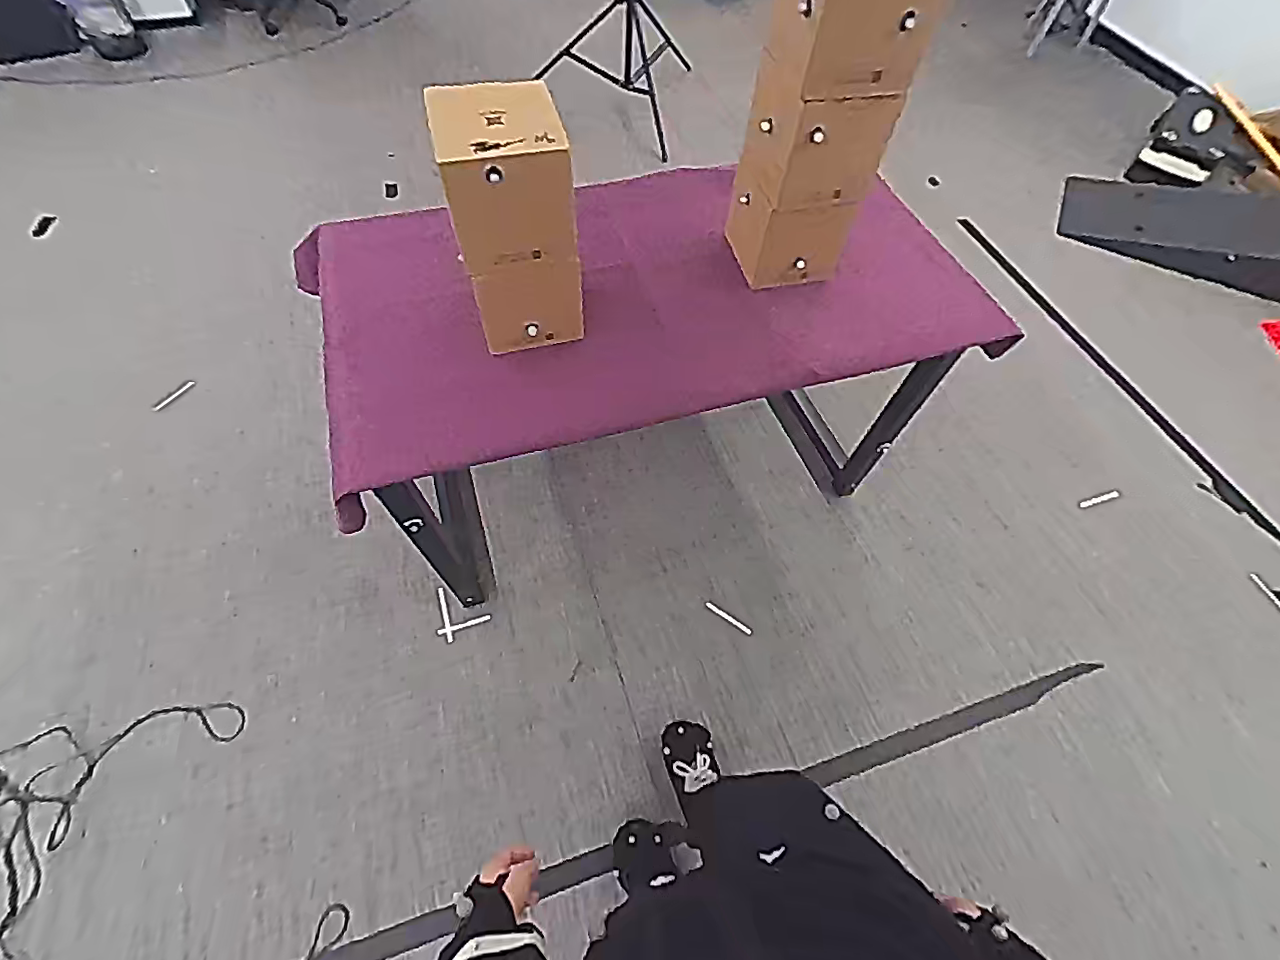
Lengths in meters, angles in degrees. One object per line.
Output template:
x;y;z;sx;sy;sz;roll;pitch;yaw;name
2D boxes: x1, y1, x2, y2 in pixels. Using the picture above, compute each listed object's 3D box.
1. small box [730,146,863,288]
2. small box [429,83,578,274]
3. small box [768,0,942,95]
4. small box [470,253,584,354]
0.279;-0.491;1.016;0.168;0.176;0.179;-10;61;-8;small box
-0.187;-0.422;0.765;0.168;0.176;0.179;-13;61;-10;small box
0.290;-0.647;0.729;0.168;0.176;0.179;-8;60;-8;small box
-0.193;-0.341;0.908;0.168;0.176;0.179;-14;63;-10;small box
